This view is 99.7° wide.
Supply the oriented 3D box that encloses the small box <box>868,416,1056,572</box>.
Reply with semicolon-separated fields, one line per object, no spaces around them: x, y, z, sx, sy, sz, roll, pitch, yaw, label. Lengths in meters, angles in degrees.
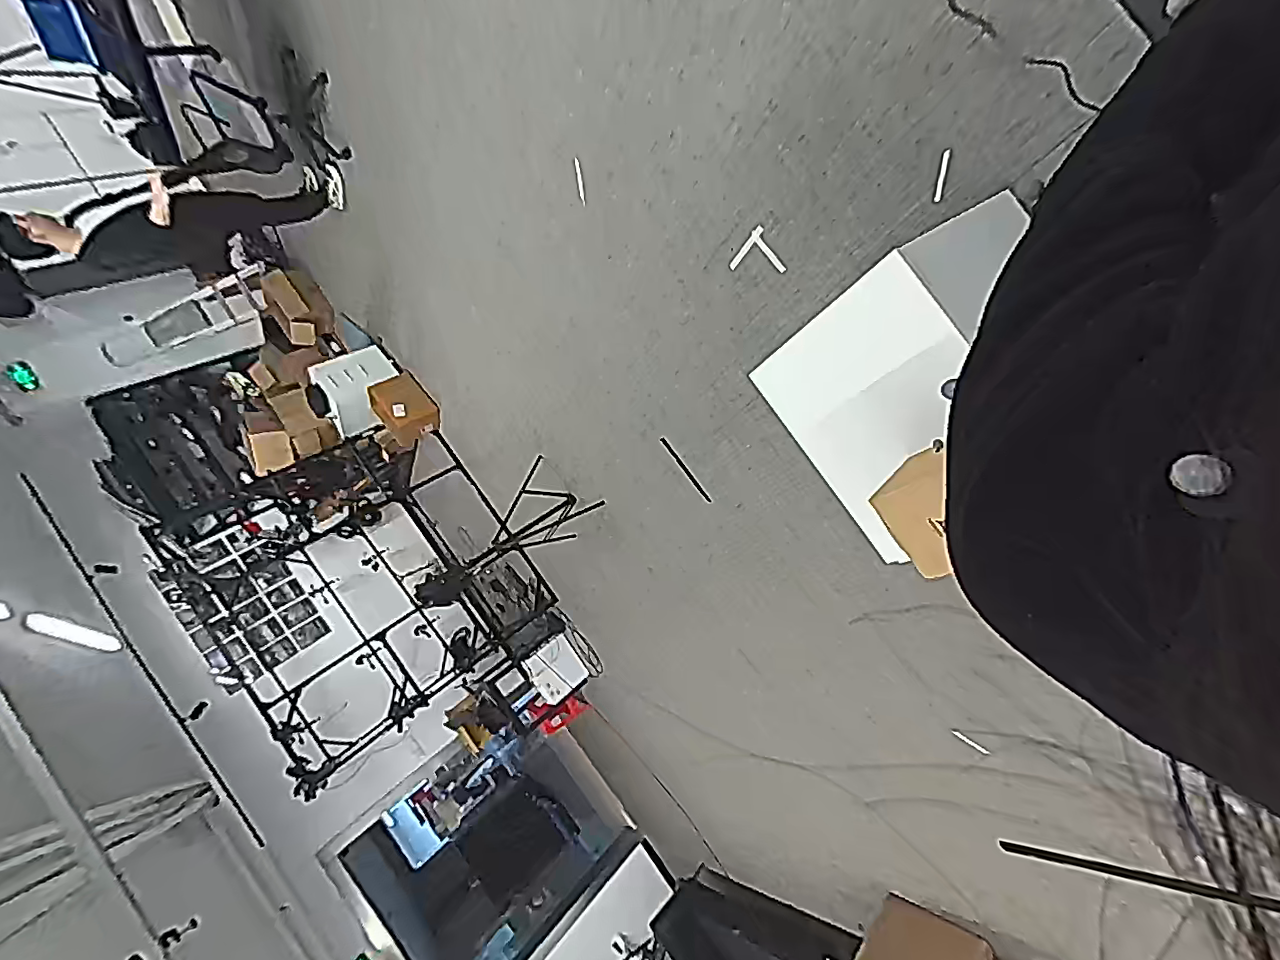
0.523;0.024;0.882;0.168;0.176;0.179;54;149;3;small box
